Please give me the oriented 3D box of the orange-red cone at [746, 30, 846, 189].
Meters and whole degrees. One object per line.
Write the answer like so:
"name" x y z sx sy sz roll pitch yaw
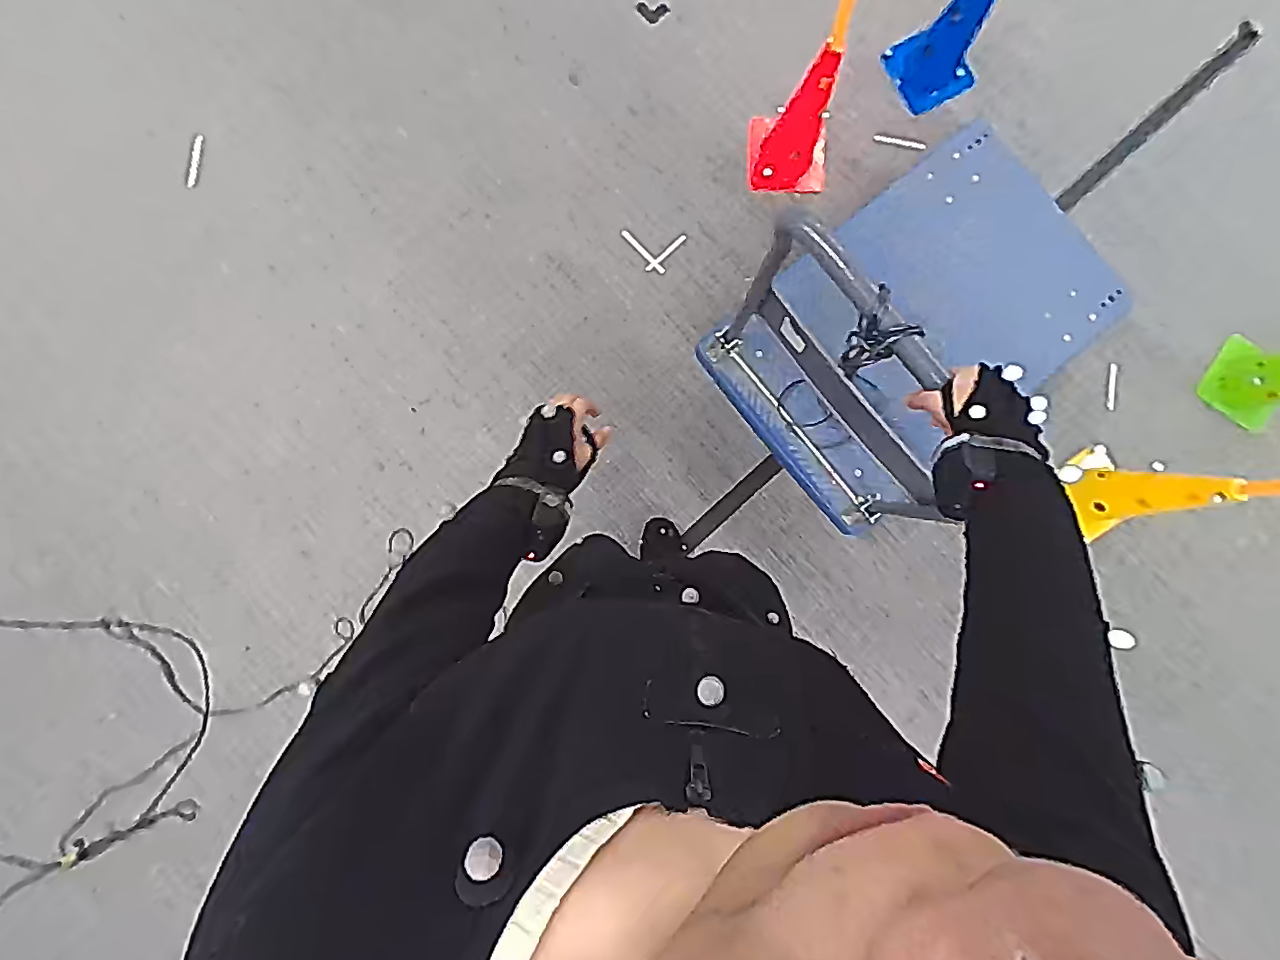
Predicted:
"orange-red cone" 0.387 -0.870 1.246 0.199 0.360 0.198 3 88 -2

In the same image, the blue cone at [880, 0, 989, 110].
"blue cone" 0.761 -1.106 1.278 0.192 0.380 0.193 -28 88 -1

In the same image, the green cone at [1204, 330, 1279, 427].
"green cone" 1.594 -0.269 1.237 0.200 0.368 0.202 34 89 1
